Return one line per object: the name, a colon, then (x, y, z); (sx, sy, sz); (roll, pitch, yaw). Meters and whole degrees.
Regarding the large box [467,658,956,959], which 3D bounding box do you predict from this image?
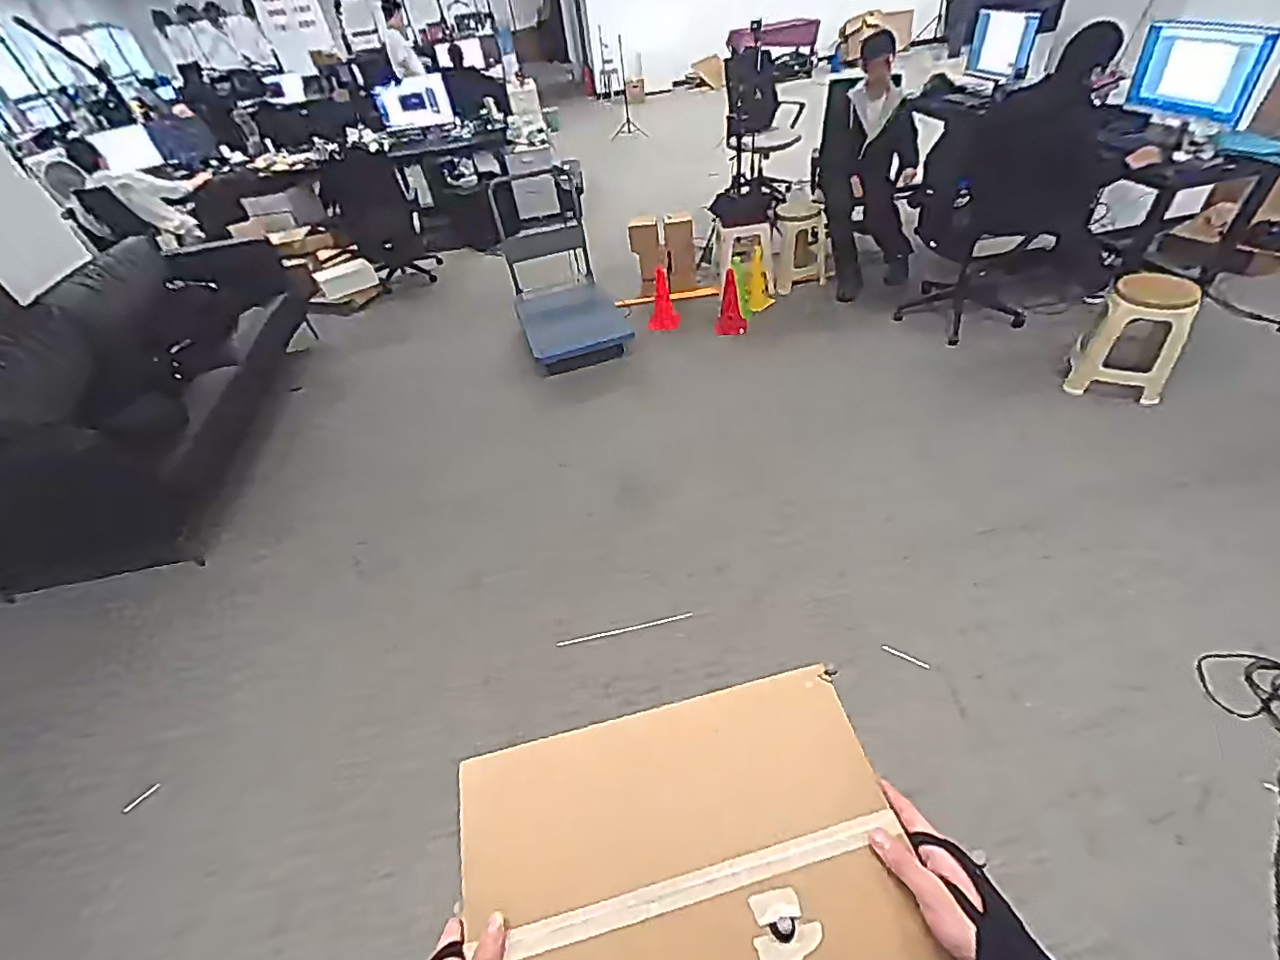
large box: (0.049, 0.456, 0.620); (0.408, 0.320, 0.320); (-12, 52, -8)
